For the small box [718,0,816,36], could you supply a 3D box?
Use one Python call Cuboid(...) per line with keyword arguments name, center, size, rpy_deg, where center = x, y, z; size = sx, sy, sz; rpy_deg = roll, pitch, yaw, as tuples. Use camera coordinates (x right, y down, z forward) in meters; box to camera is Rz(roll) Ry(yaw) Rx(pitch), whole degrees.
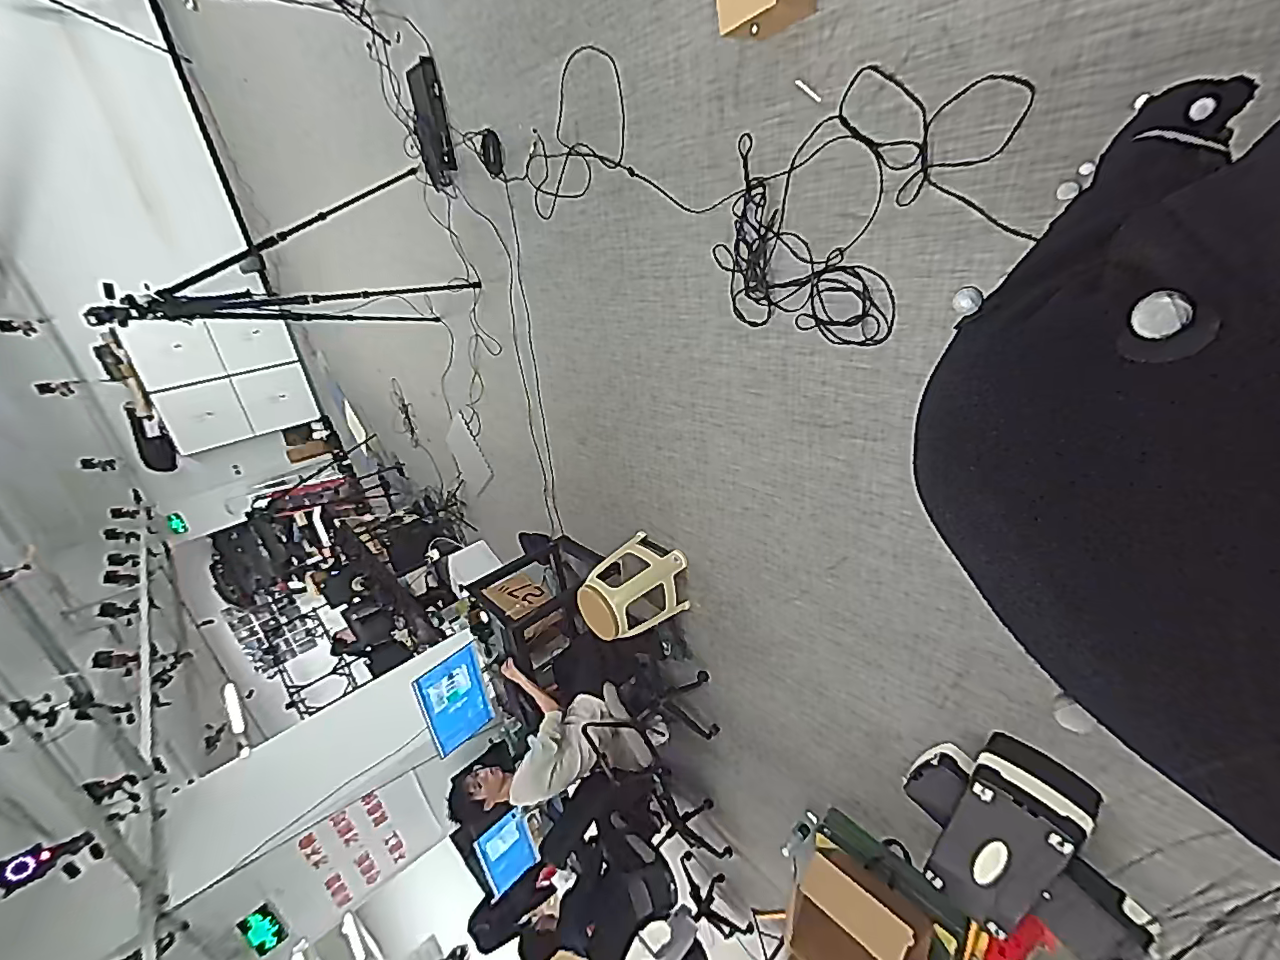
Cuboid(name="small box", center=(0.306, -1.215, 1.314), size=(0.179, 0.176, 0.168), rpy_deg=(13, 123, 48))
